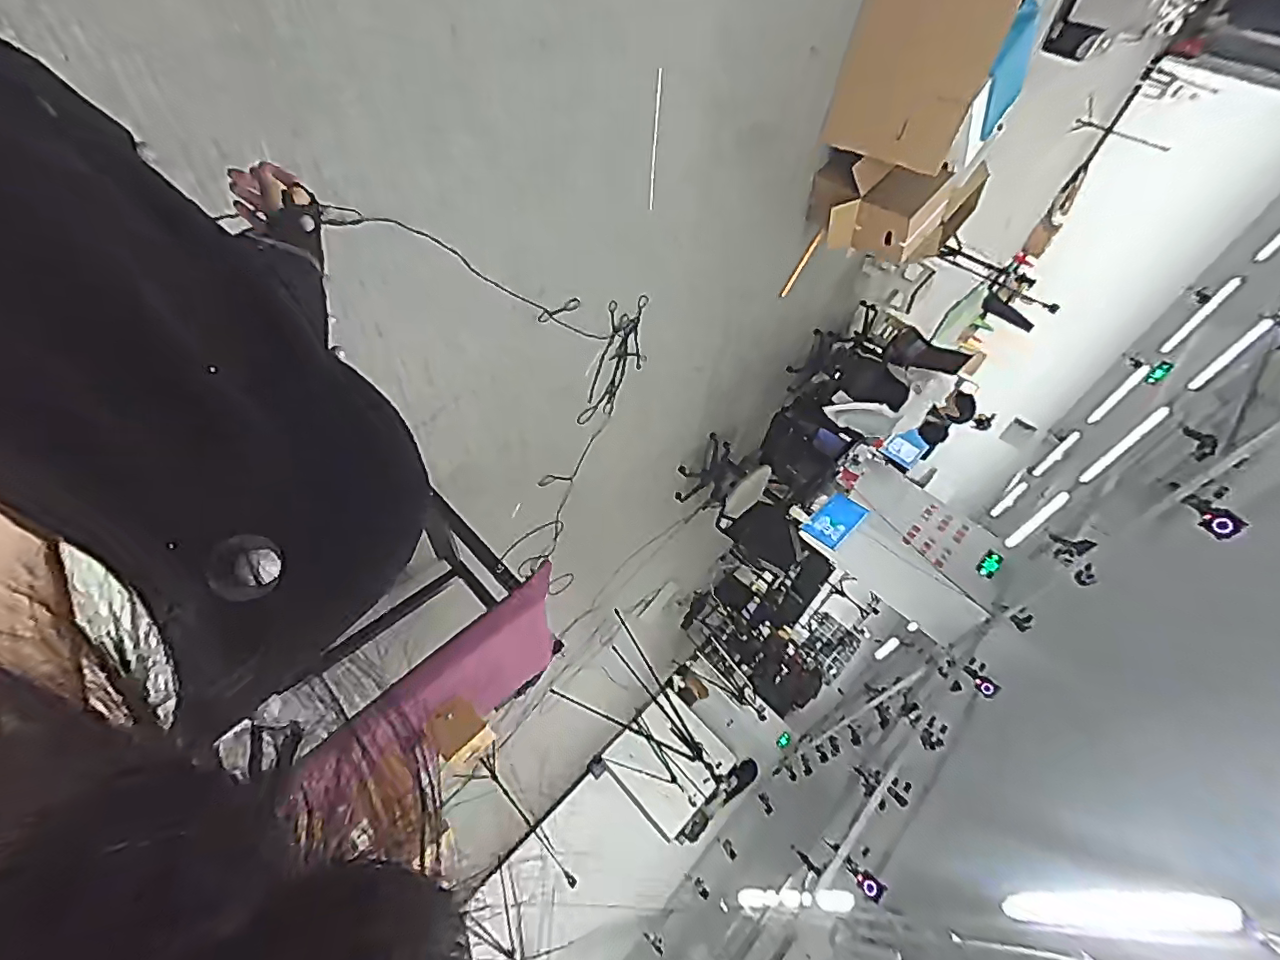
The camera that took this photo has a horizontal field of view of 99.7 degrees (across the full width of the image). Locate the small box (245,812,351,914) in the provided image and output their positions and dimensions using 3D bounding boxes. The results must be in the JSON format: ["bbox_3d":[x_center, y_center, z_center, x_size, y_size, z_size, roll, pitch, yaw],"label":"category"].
[{"bbox_3d":[-1.020,1.124,1.611,0.179,0.176,0.168,-46,157,-12],"label":"small box"}]

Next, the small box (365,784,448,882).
[{"bbox_3d":[-0.727,1.093,1.678,0.179,0.176,0.168,-34,152,-34],"label":"small box"}]

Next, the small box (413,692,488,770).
[{"bbox_3d":[-0.661,0.875,1.889,0.168,0.176,0.179,-38,154,-27],"label":"small box"}]

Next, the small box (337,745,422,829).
[{"bbox_3d":[-0.841,1.000,1.750,0.179,0.176,0.168,-34,152,-34],"label":"small box"}]
